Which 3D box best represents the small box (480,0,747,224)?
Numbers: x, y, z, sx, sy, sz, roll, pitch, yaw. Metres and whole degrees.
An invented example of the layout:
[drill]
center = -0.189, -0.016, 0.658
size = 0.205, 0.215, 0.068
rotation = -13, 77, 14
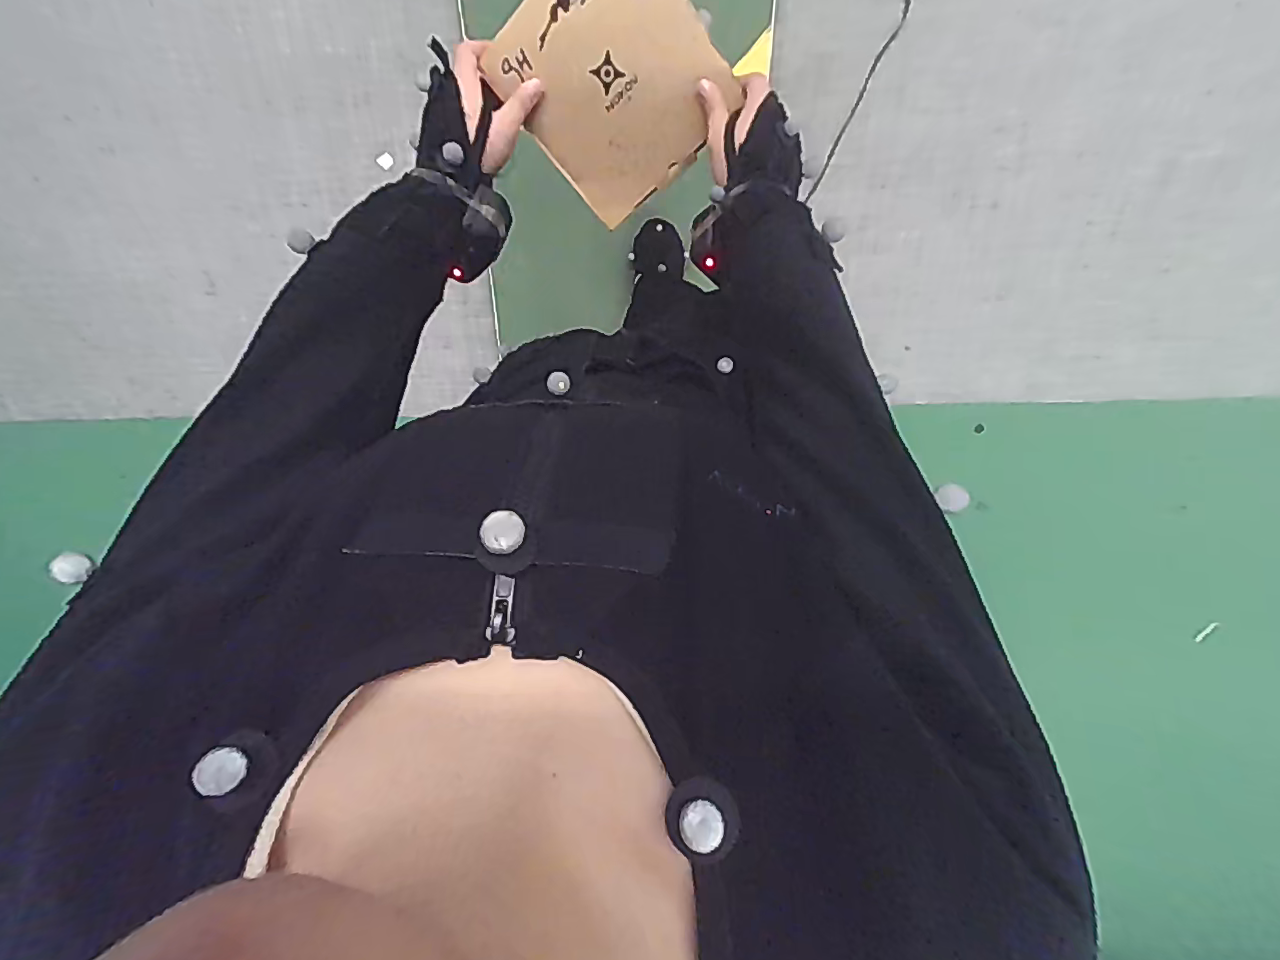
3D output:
[small box]
center = -0.017, -0.393, 0.526
size = 0.168, 0.176, 0.179
rotation = -33, 119, 24
